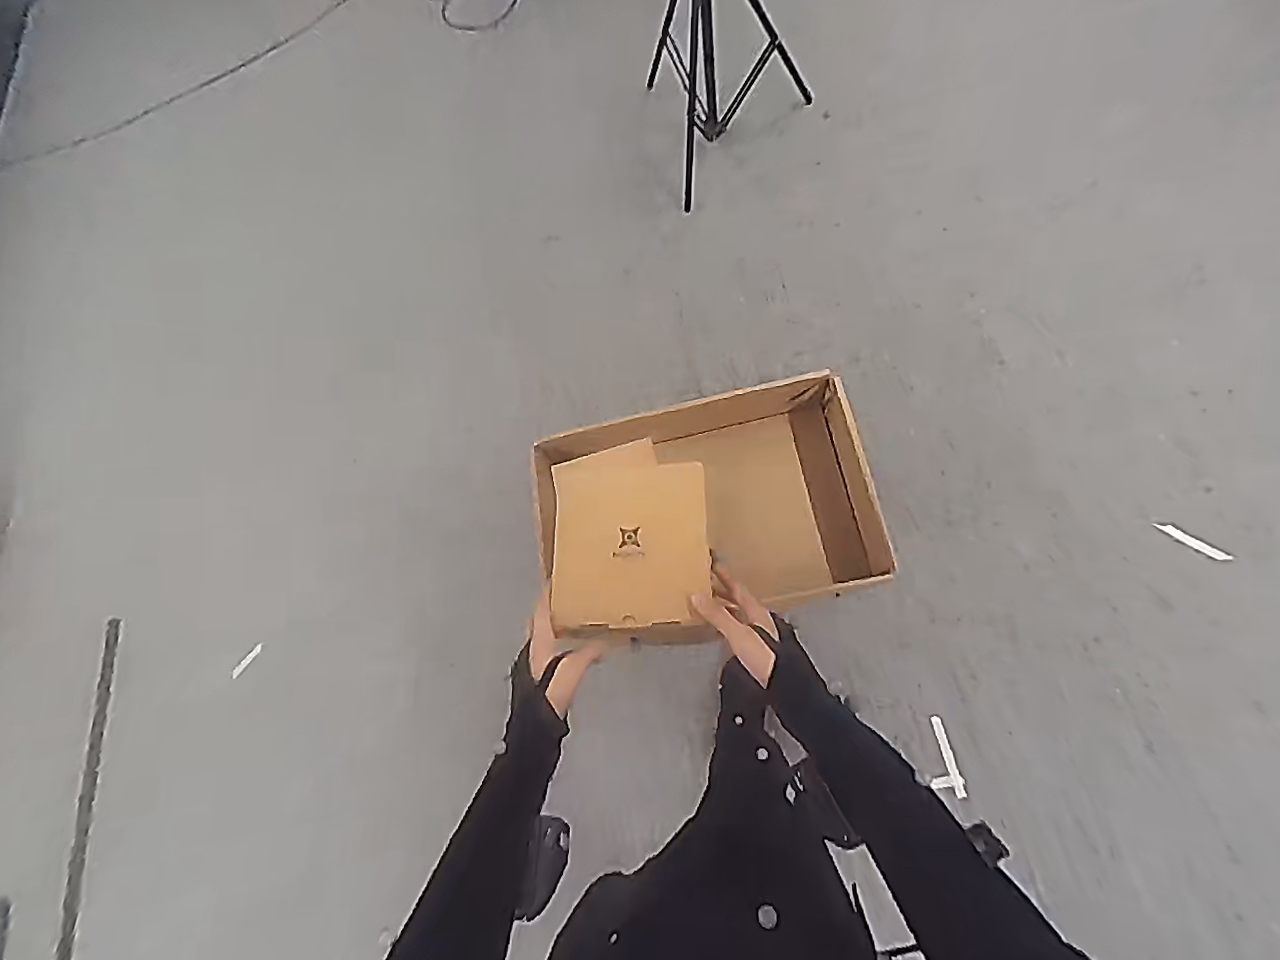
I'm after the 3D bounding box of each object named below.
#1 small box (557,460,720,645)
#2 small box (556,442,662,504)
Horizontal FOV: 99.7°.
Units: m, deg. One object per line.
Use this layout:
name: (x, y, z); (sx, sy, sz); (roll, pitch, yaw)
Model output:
small box: (0.007, 0.094, 0.643); (0.168, 0.176, 0.179); (-5, 67, 8)
small box: (-0.023, 0.065, 0.889); (0.168, 0.176, 0.179); (-17, 71, 6)
